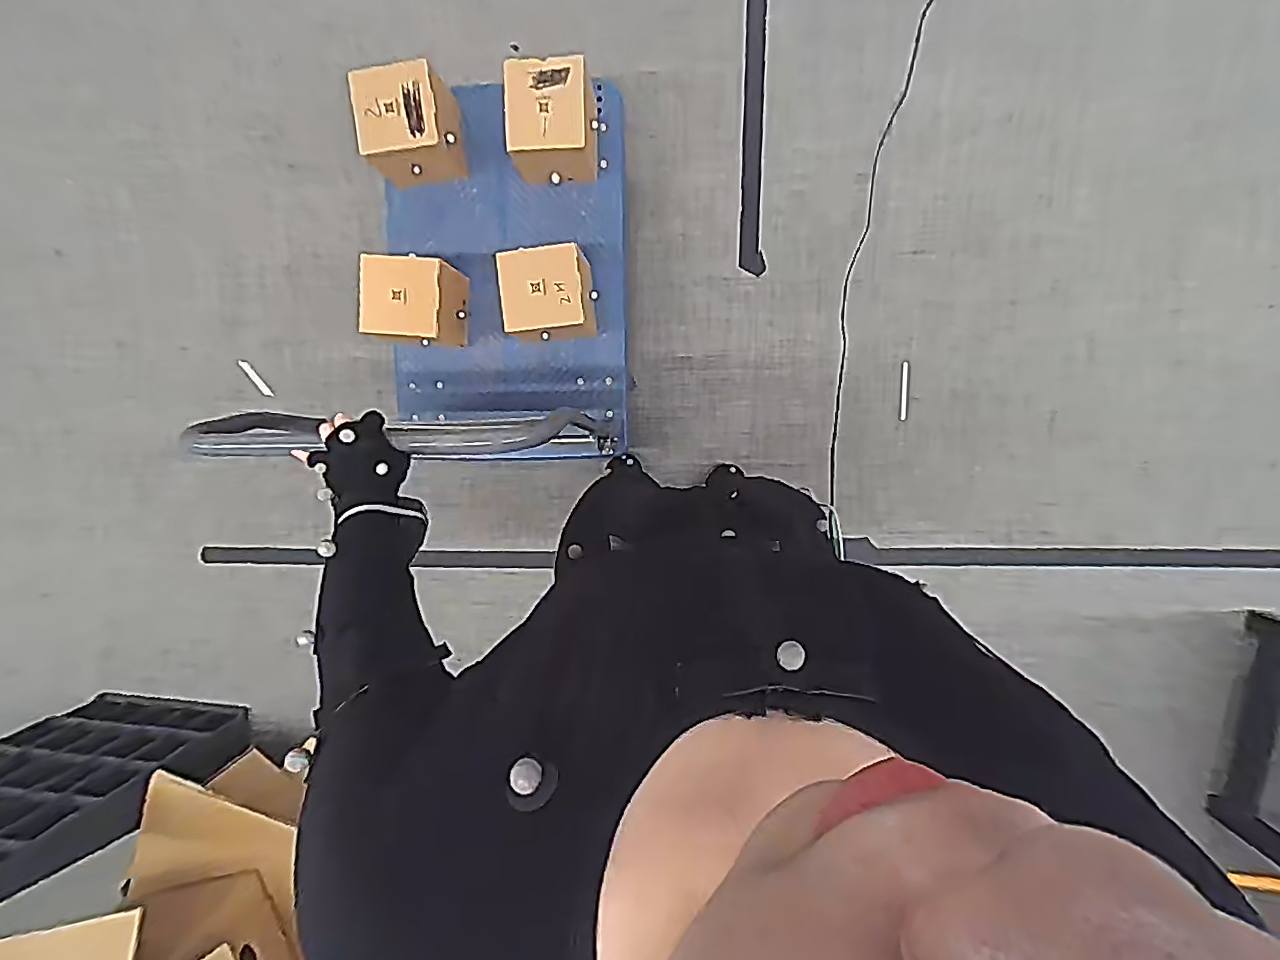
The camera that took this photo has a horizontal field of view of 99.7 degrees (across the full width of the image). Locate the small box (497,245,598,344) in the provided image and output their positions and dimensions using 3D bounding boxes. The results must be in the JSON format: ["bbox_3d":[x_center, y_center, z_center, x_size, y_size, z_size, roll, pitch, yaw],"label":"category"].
[{"bbox_3d":[-0.200,-0.406,1.209,0.179,0.176,0.168,-5,96,5],"label":"small box"}]

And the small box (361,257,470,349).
[{"bbox_3d":[-0.507,-0.397,1.235,0.179,0.176,0.168,4,96,2],"label":"small box"}]

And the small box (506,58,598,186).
[{"bbox_3d":[-0.184,-0.764,1.169,0.168,0.176,0.179,0,97,4],"label":"small box"}]
